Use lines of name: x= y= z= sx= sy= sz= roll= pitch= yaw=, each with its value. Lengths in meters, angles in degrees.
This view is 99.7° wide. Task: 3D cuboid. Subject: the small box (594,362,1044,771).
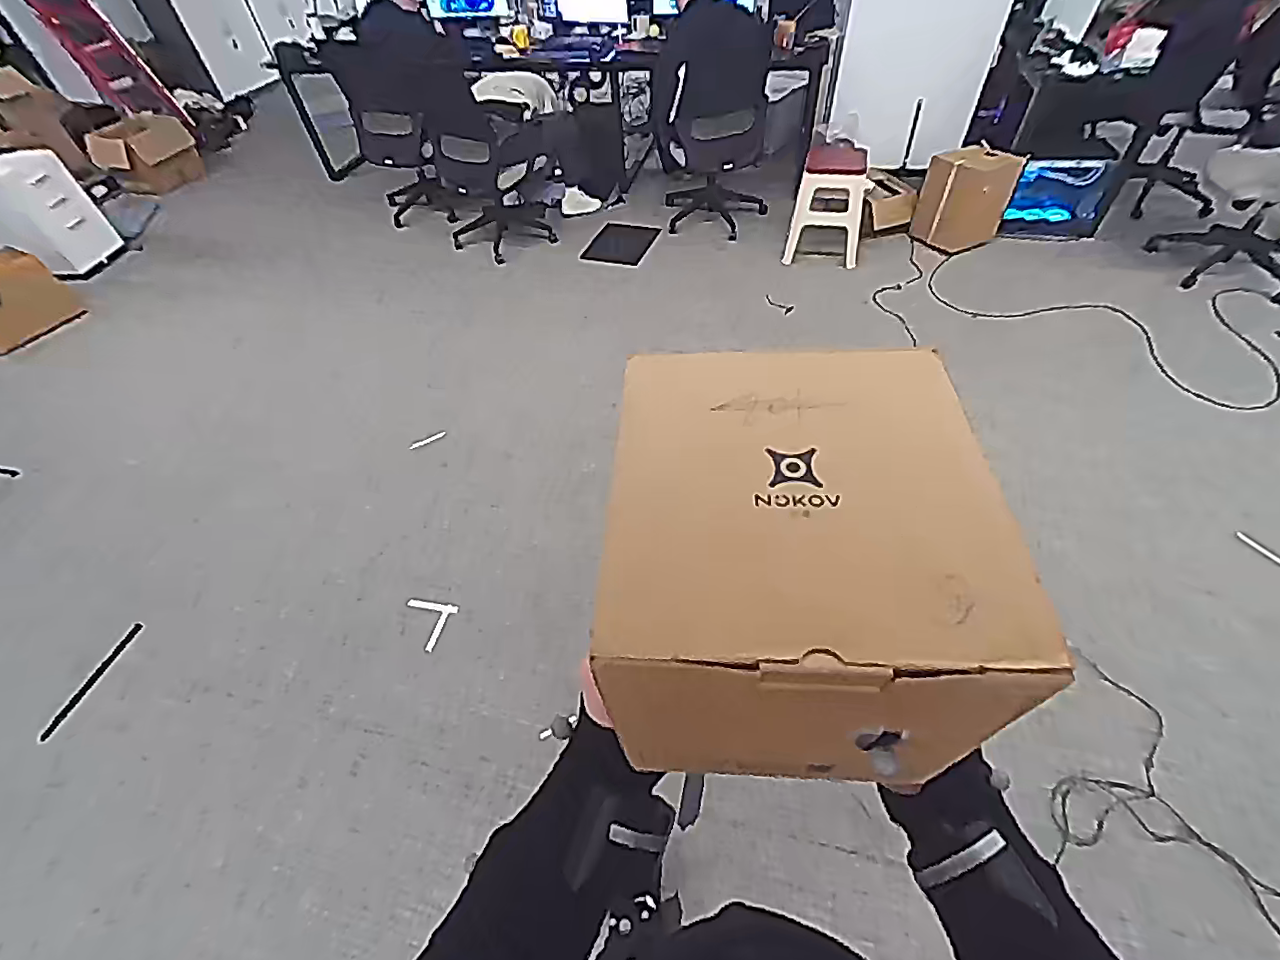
small box: x=0.075 y=0.054 z=0.312 sx=0.168 sy=0.176 sz=0.179 roll=0 pitch=50 yaw=5
